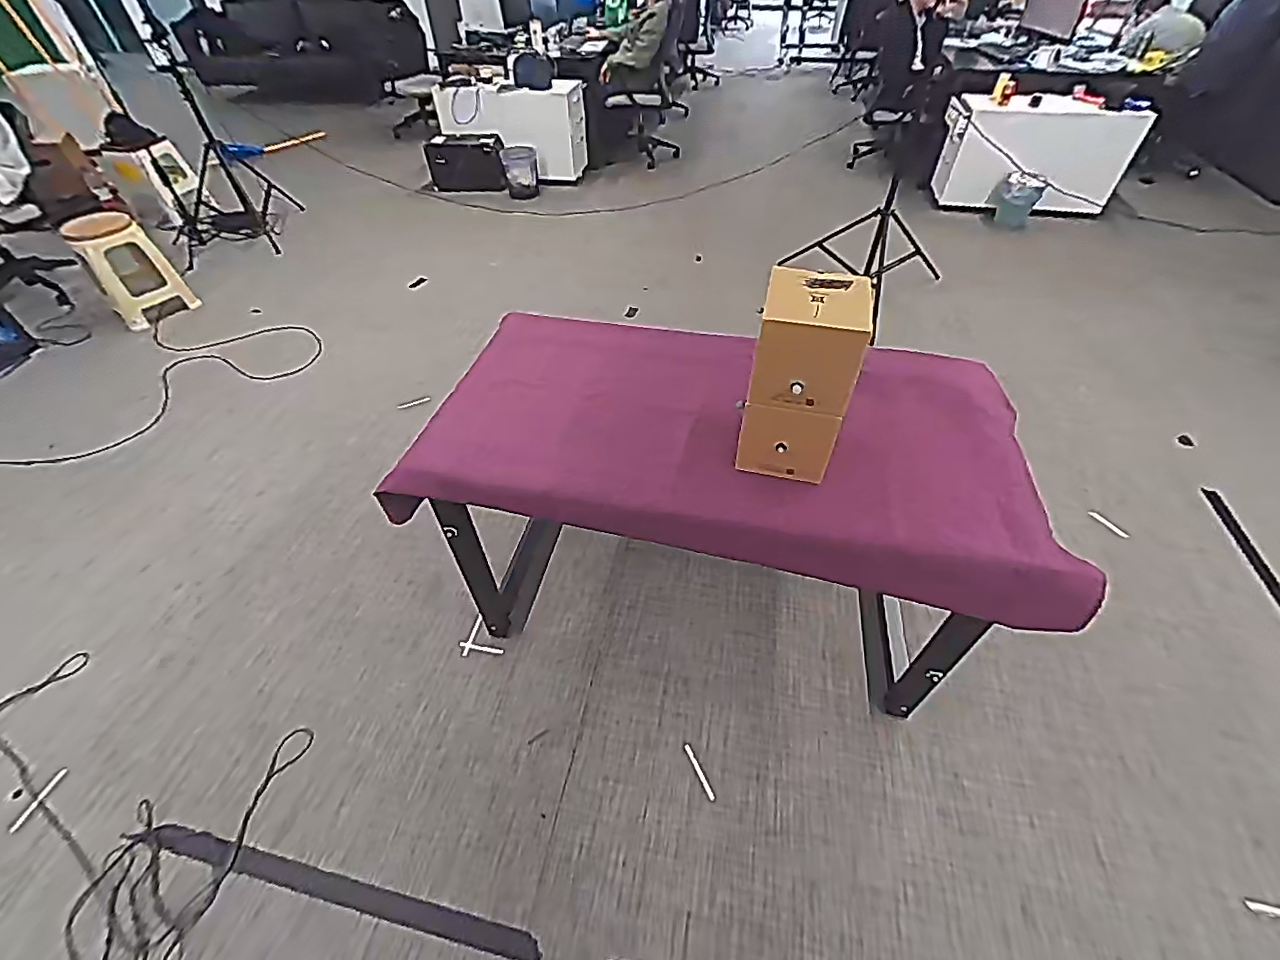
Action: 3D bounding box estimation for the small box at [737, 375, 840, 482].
[{"bbox_3d":[0.286,-0.120,1.046,0.168,0.176,0.179,11,47,10],"label":"small box"}]

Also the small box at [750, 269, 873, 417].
[{"bbox_3d":[0.289,-0.235,0.929,0.168,0.176,0.179,10,48,11],"label":"small box"}]
